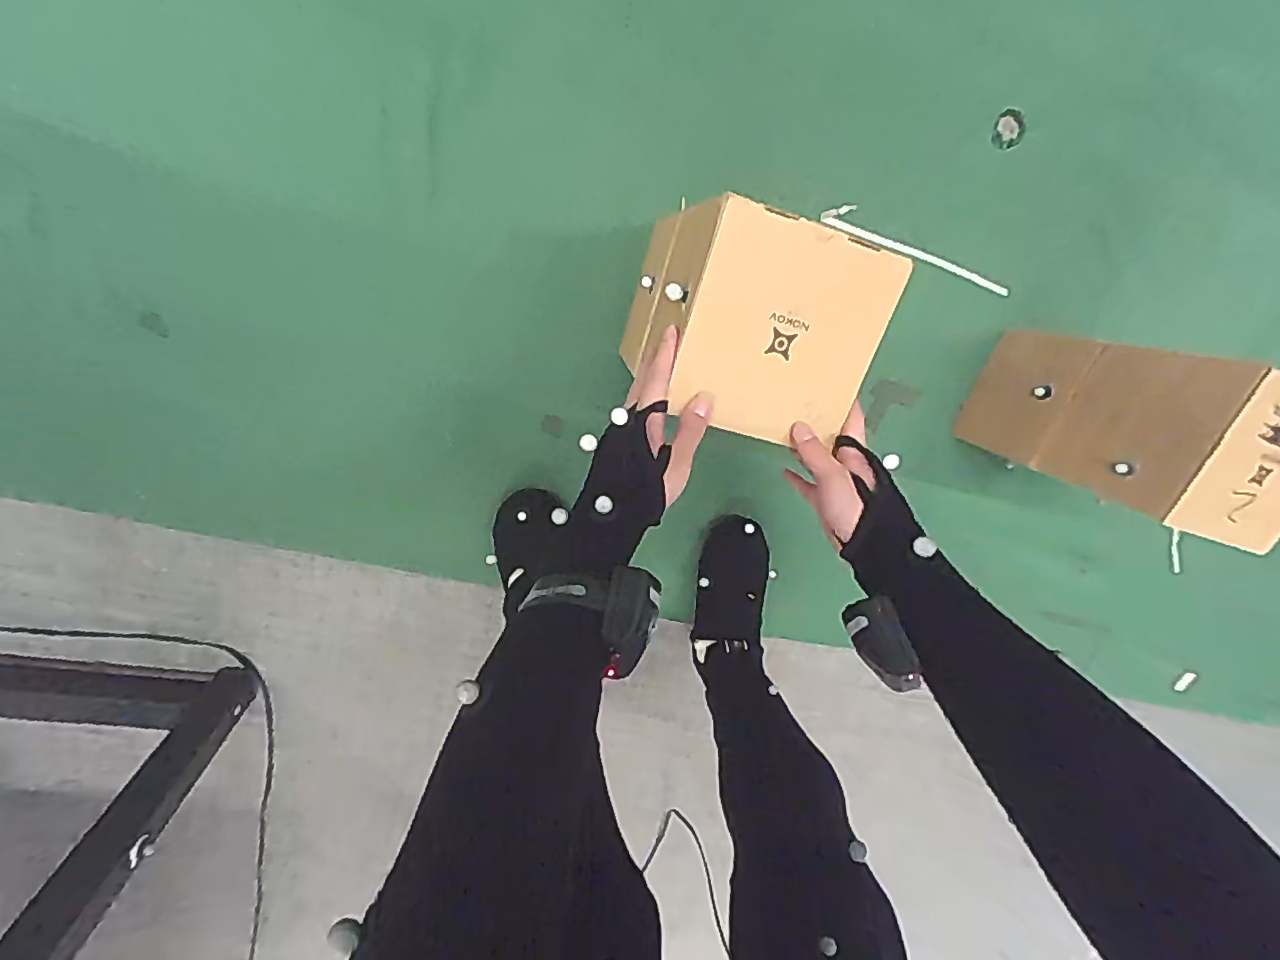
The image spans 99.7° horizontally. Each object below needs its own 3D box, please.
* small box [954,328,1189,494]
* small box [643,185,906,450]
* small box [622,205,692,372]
[{"bbox_3d":[0.606,-0.108,0.786,0.168,0.176,0.179,16,110,-14],"label":"small box"},{"bbox_3d":[0.105,-0.151,0.518,0.168,0.176,0.179,13,108,-12],"label":"small box"},{"bbox_3d":[0.081,-0.214,0.665,0.168,0.176,0.179,14,111,-13],"label":"small box"}]
